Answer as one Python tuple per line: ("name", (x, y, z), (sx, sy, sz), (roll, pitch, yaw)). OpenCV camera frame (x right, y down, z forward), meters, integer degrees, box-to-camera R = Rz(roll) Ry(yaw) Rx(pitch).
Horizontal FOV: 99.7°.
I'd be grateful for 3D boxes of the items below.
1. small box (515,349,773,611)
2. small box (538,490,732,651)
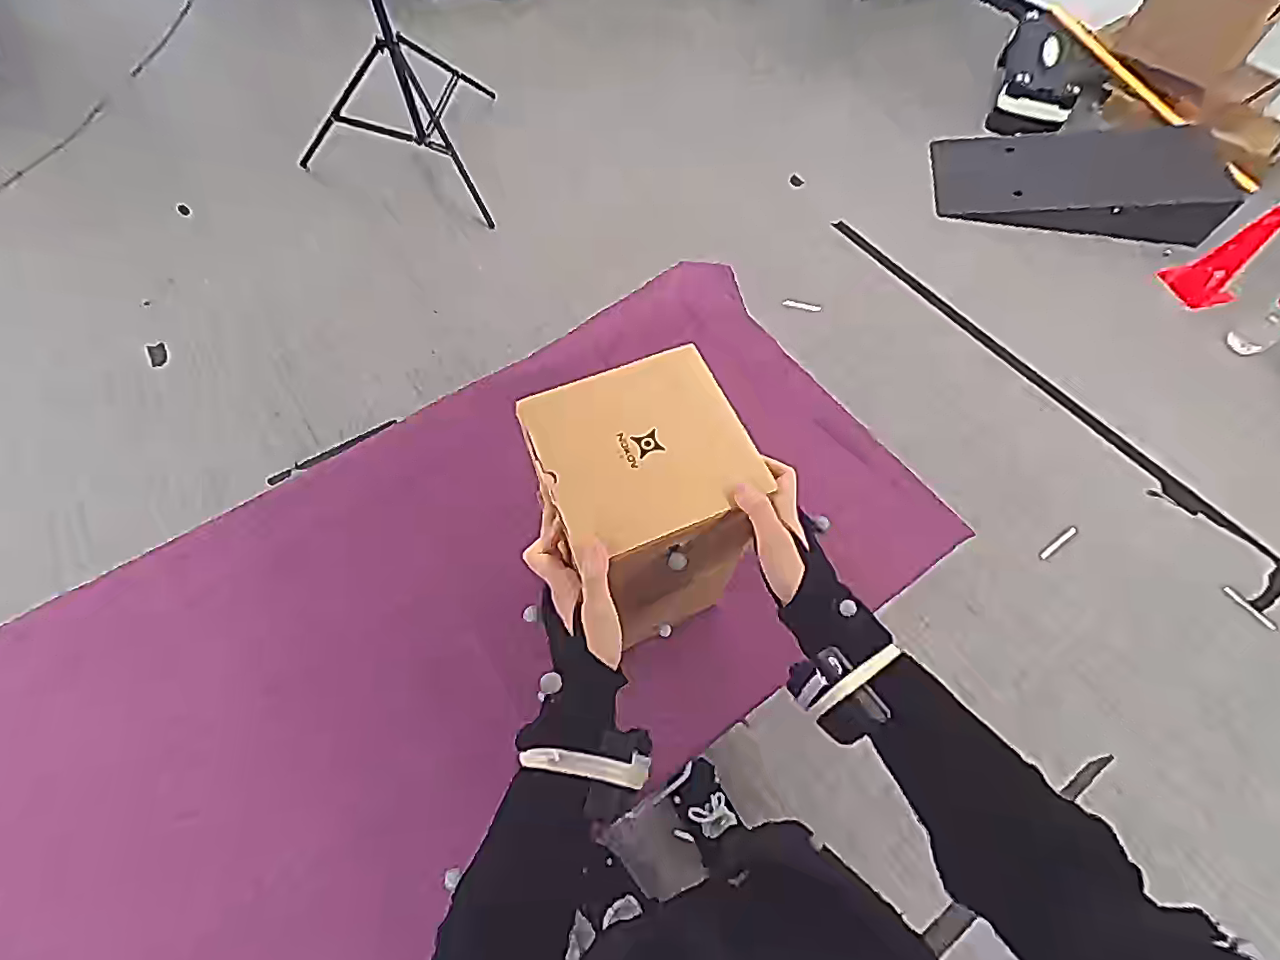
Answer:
("small box", (-0.002, 0.009, 0.527), (0.179, 0.176, 0.168), (-21, 67, -10))
("small box", (-0.011, 0.088, 0.670), (0.168, 0.176, 0.179), (-24, 66, -12))
